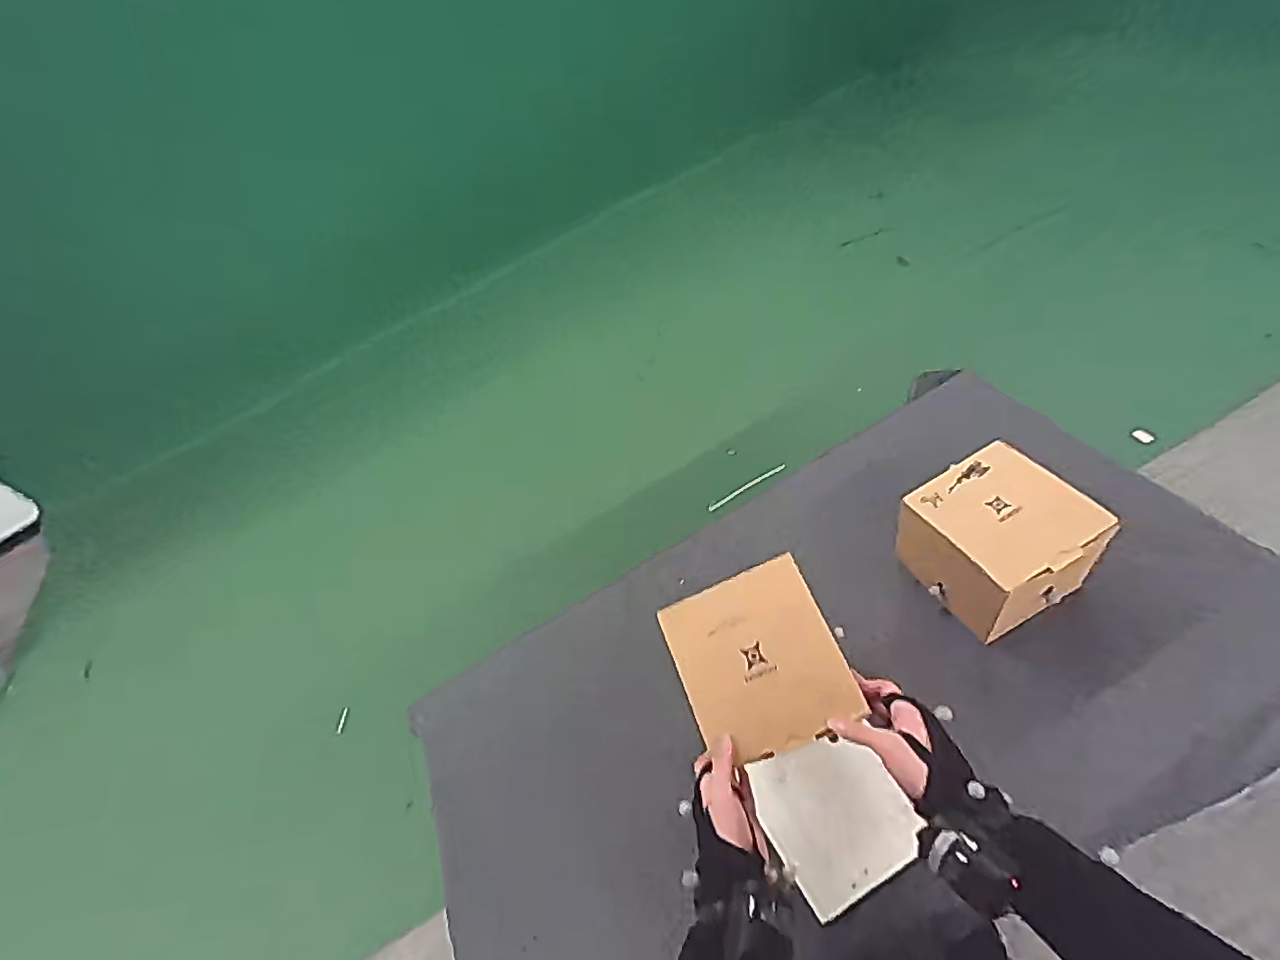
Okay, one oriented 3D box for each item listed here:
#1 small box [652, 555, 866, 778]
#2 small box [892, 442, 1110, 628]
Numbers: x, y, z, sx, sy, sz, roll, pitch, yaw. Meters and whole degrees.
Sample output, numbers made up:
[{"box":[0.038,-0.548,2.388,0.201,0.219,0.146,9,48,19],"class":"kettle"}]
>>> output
[{"box":[0.138,0.211,0.624,0.168,0.176,0.179,-27,64,7],"class":"small box"},{"box":[0.485,0.086,0.761,0.168,0.176,0.179,-29,50,-4],"class":"small box"}]
